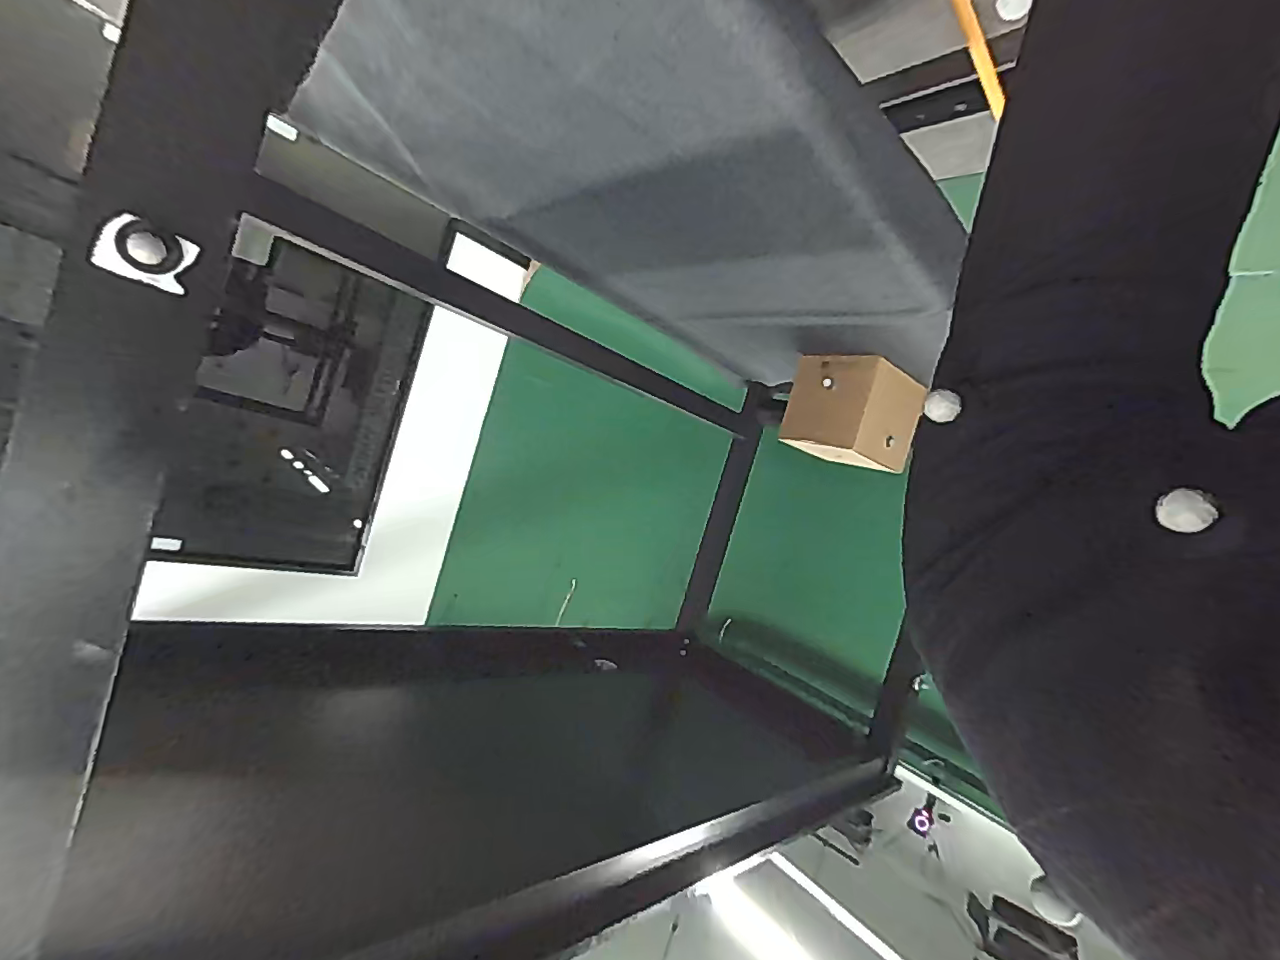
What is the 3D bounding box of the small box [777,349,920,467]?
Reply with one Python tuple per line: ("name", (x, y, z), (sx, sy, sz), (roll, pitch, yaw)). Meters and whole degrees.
("small box", (0.397, -0.138, 1.023), (0.179, 0.176, 0.168), (16, -179, -37))
